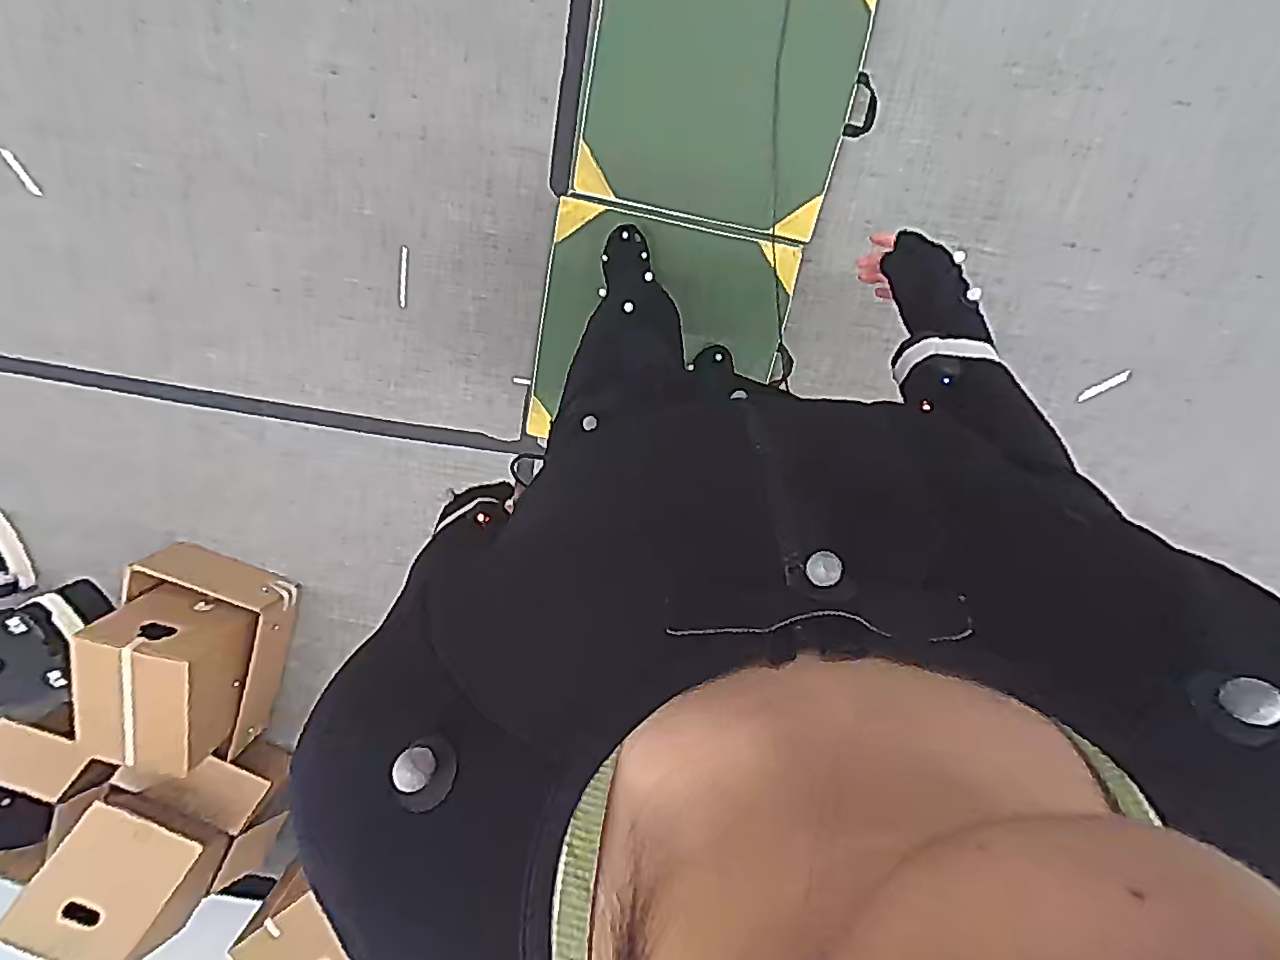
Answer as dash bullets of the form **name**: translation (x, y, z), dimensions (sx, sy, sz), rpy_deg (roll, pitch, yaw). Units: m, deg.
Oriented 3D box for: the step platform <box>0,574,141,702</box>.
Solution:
- **step platform**: translation (-2.035, 0.544, 1.750), dimensions (0.684, 0.204, 0.286), rpy_deg (-18, 106, 7)
